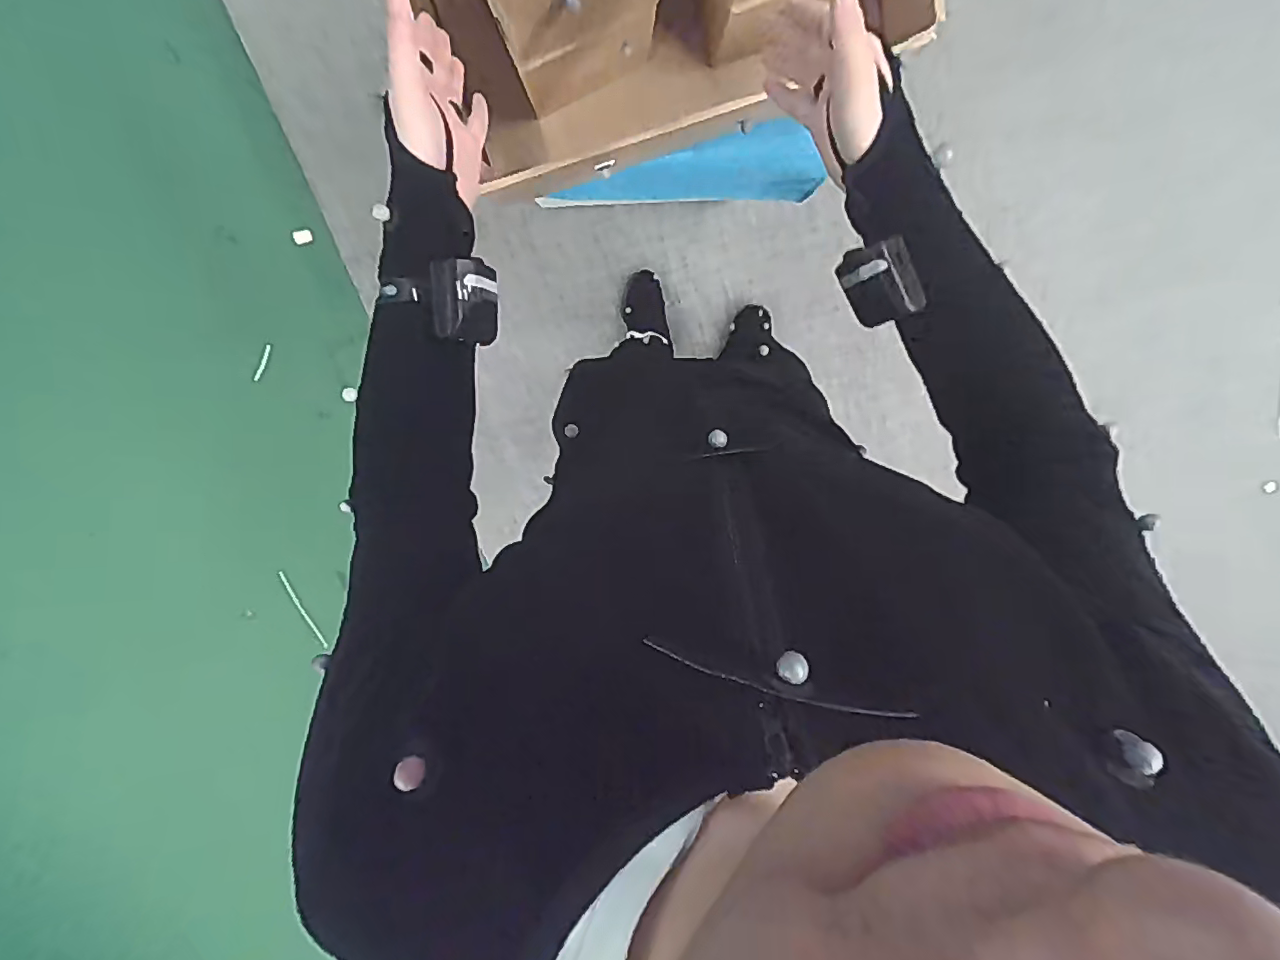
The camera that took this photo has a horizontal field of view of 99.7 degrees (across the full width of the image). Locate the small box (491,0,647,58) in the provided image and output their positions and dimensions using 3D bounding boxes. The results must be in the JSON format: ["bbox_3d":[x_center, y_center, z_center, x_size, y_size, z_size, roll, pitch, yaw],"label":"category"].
[{"bbox_3d":[-0.085,-0.549,0.510,0.179,0.176,0.168,-21,109,5],"label":"small box"}]
